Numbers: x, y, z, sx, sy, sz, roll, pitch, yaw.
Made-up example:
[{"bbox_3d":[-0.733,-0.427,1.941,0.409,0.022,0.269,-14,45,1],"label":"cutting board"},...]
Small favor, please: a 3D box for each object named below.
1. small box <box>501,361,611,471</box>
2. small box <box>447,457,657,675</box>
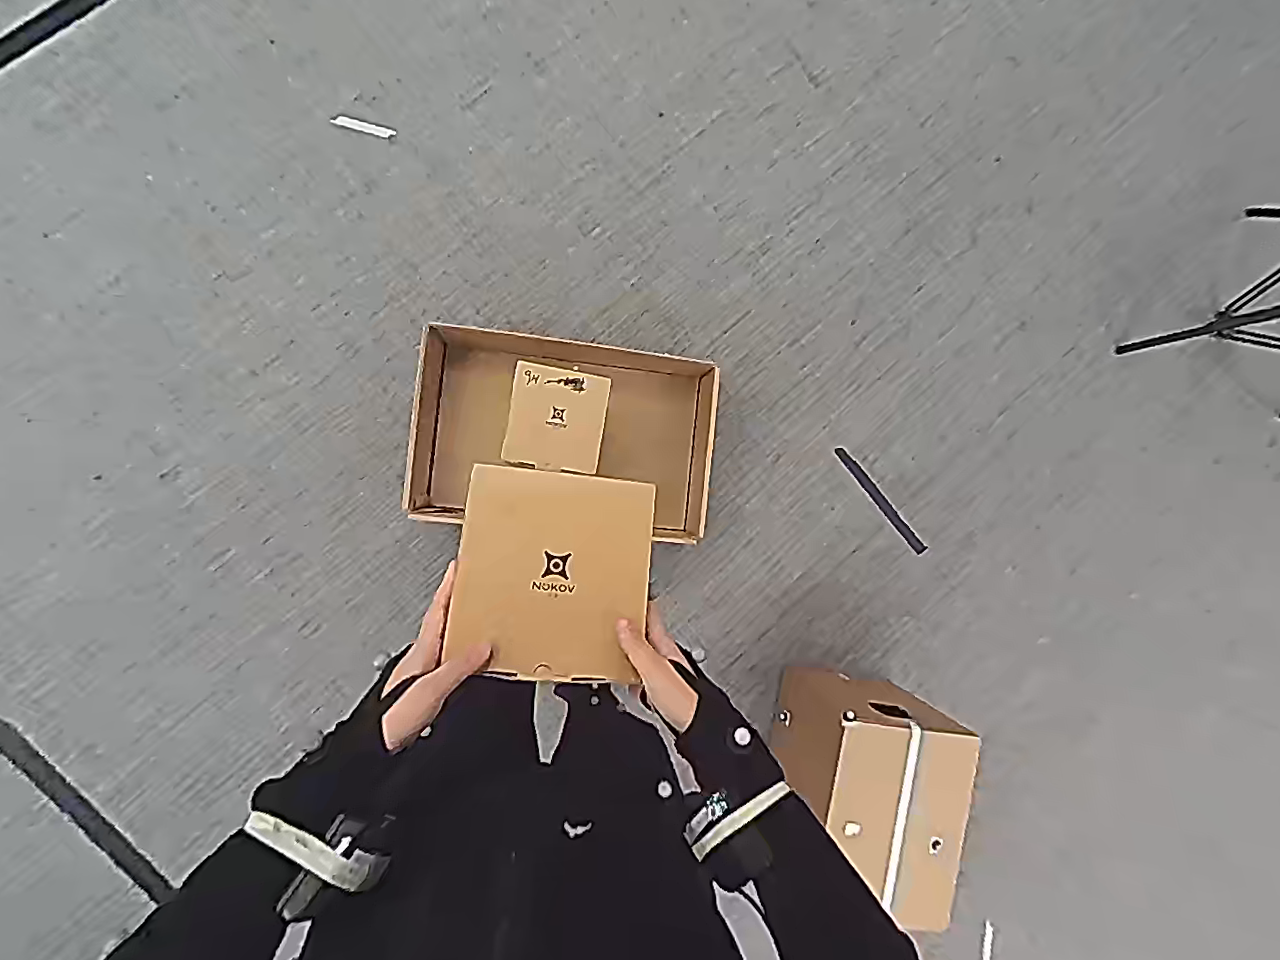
[{"bbox_3d":[-0.154,-0.104,1.006,0.168,0.176,0.179,10,89,-9],"label":"small box"},{"bbox_3d":[-0.085,0.091,0.543,0.168,0.176,0.179,7,76,-9],"label":"small box"}]
